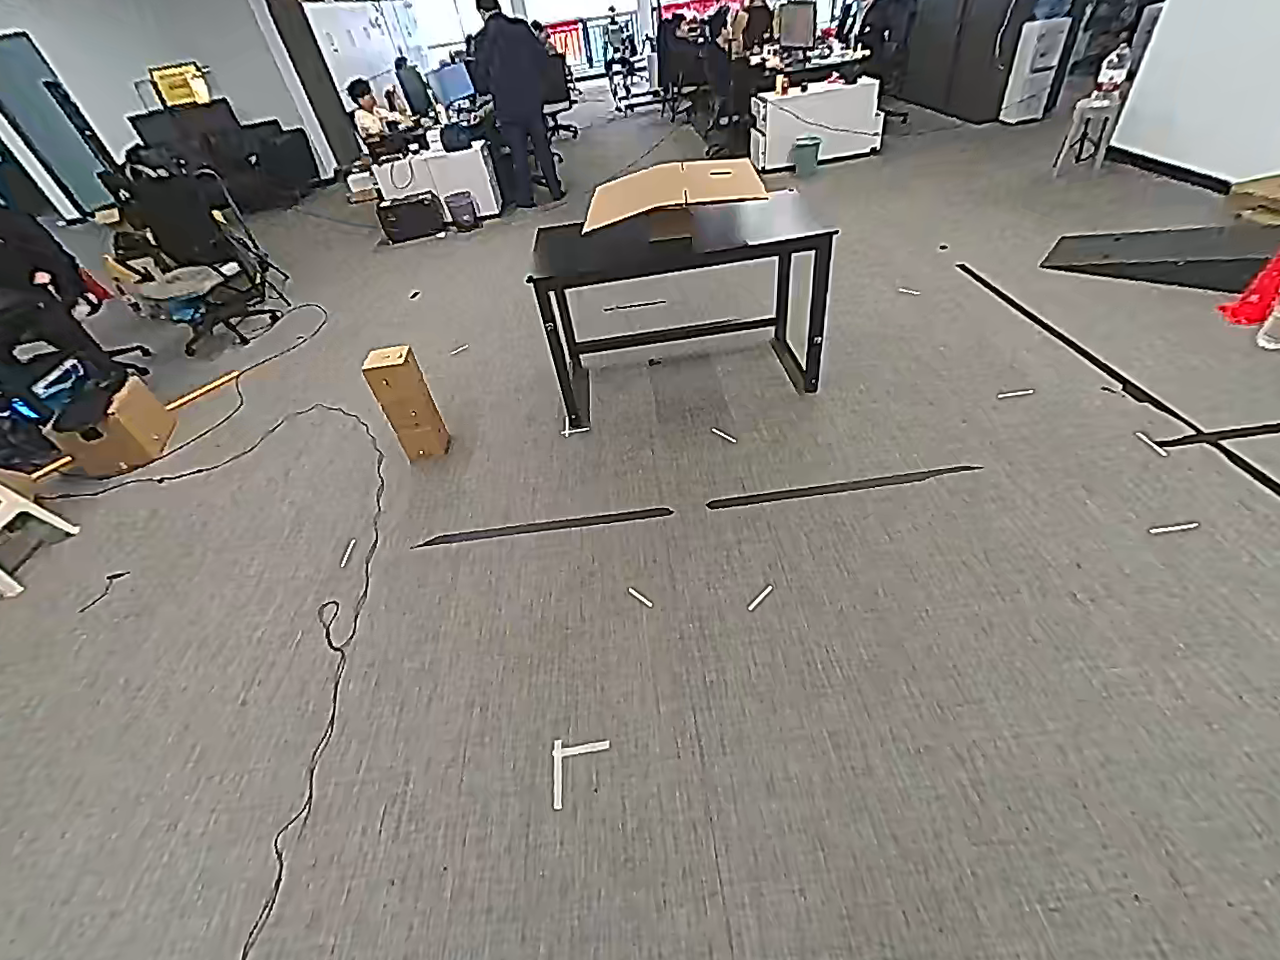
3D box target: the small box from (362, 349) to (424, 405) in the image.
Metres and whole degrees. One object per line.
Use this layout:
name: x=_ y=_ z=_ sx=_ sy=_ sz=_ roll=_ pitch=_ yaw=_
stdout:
small box: x=-1.068 y=-0.442 z=2.349 sx=0.179 sy=0.176 sz=0.168 roll=-11 pitch=42 yaw=-1

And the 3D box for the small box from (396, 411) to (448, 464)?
small box: x=-1.027 y=-0.200 z=2.564 sx=0.168 sy=0.176 sz=0.179 roll=-11 pitch=43 yaw=-1
